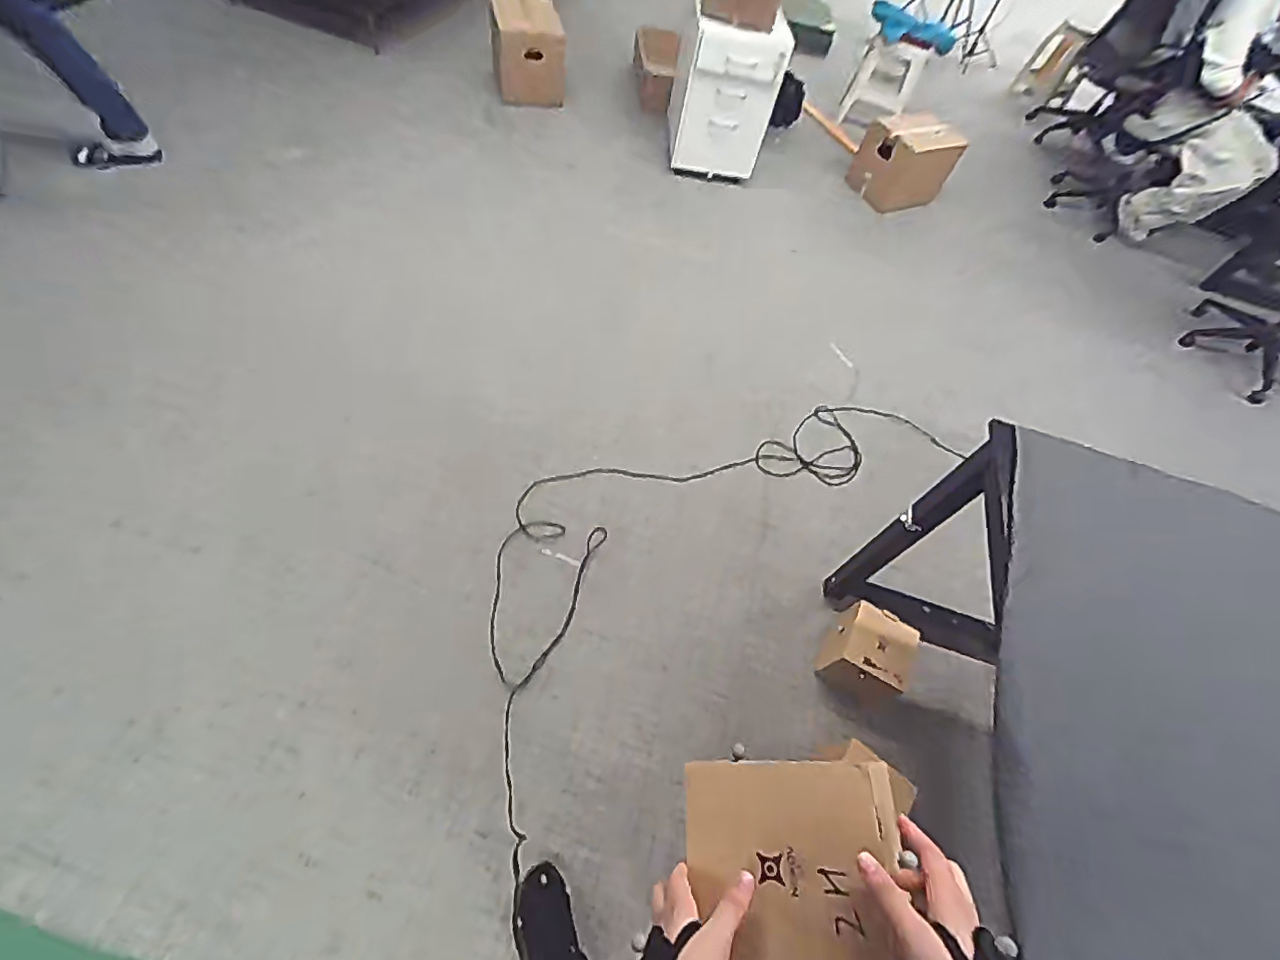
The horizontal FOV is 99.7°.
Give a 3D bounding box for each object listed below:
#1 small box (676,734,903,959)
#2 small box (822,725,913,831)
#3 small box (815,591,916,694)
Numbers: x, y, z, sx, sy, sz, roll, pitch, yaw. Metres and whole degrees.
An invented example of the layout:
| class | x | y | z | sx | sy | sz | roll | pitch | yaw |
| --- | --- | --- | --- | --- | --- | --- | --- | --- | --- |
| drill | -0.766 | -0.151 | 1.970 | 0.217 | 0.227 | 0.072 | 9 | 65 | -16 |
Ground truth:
| class | x | y | z | sx | sy | sz | roll | pitch | yaw |
| --- | --- | --- | --- | --- | --- | --- | --- | --- | --- |
| small box | 0.148 | 0.344 | 0.534 | 0.179 | 0.176 | 0.168 | -12 | 63 | 23 |
| small box | 0.472 | 0.696 | 1.224 | 0.168 | 0.176 | 0.179 | 37 | 57 | 12 |
| small box | 0.584 | 0.428 | 1.415 | 0.168 | 0.176 | 0.179 | 29 | 56 | 8 |
